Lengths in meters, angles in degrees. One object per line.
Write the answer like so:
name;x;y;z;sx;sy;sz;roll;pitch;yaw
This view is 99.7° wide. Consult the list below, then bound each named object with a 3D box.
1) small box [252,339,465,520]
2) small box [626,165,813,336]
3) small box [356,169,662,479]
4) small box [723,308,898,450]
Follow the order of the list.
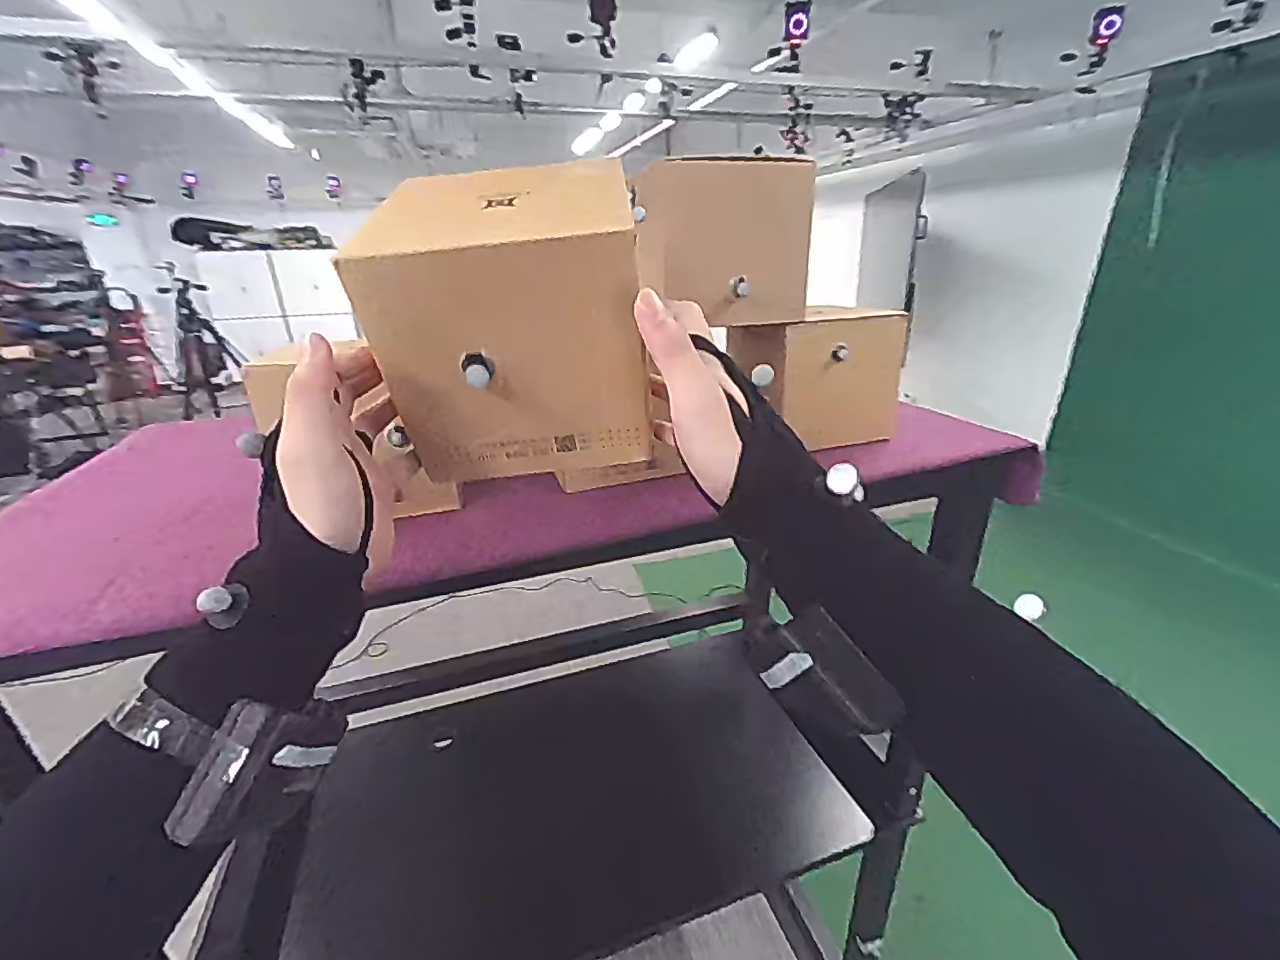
small box;-0.292;-0.062;0.607;0.168;0.176;0.179;-7;23;-15
small box;0.085;-0.275;0.662;0.179;0.176;0.168;-8;22;-15
small box;-0.078;-0.114;0.414;0.168;0.176;0.179;-8;42;-1
small box;0.230;-0.147;0.766;0.179;0.176;0.168;-9;23;-16
